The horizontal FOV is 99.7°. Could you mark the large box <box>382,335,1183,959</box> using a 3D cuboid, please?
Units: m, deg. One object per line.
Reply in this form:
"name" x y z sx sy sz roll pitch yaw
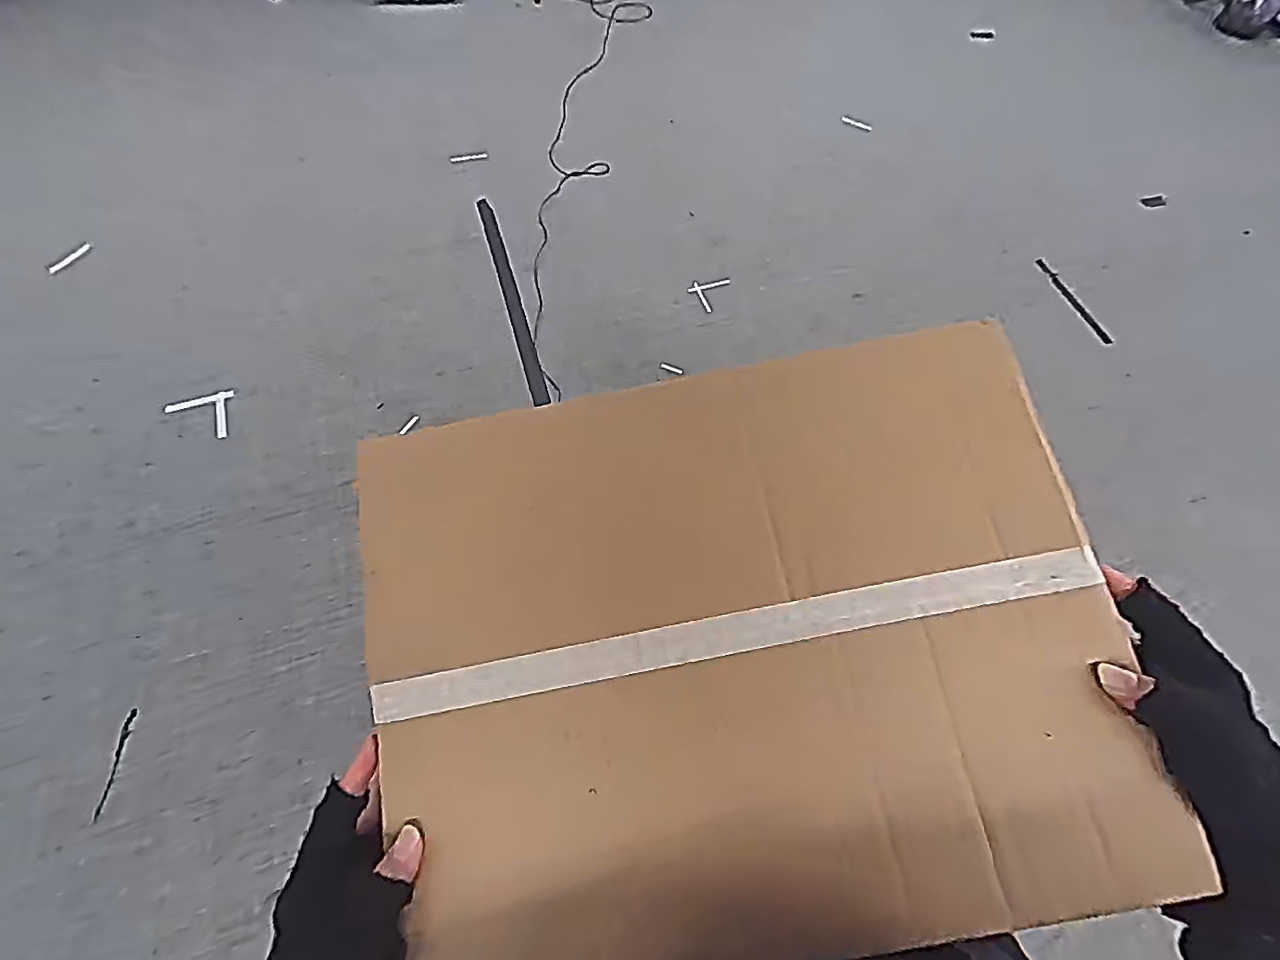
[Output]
"large box" 0.062 0.128 0.456 0.408 0.320 0.320 -11 76 1
